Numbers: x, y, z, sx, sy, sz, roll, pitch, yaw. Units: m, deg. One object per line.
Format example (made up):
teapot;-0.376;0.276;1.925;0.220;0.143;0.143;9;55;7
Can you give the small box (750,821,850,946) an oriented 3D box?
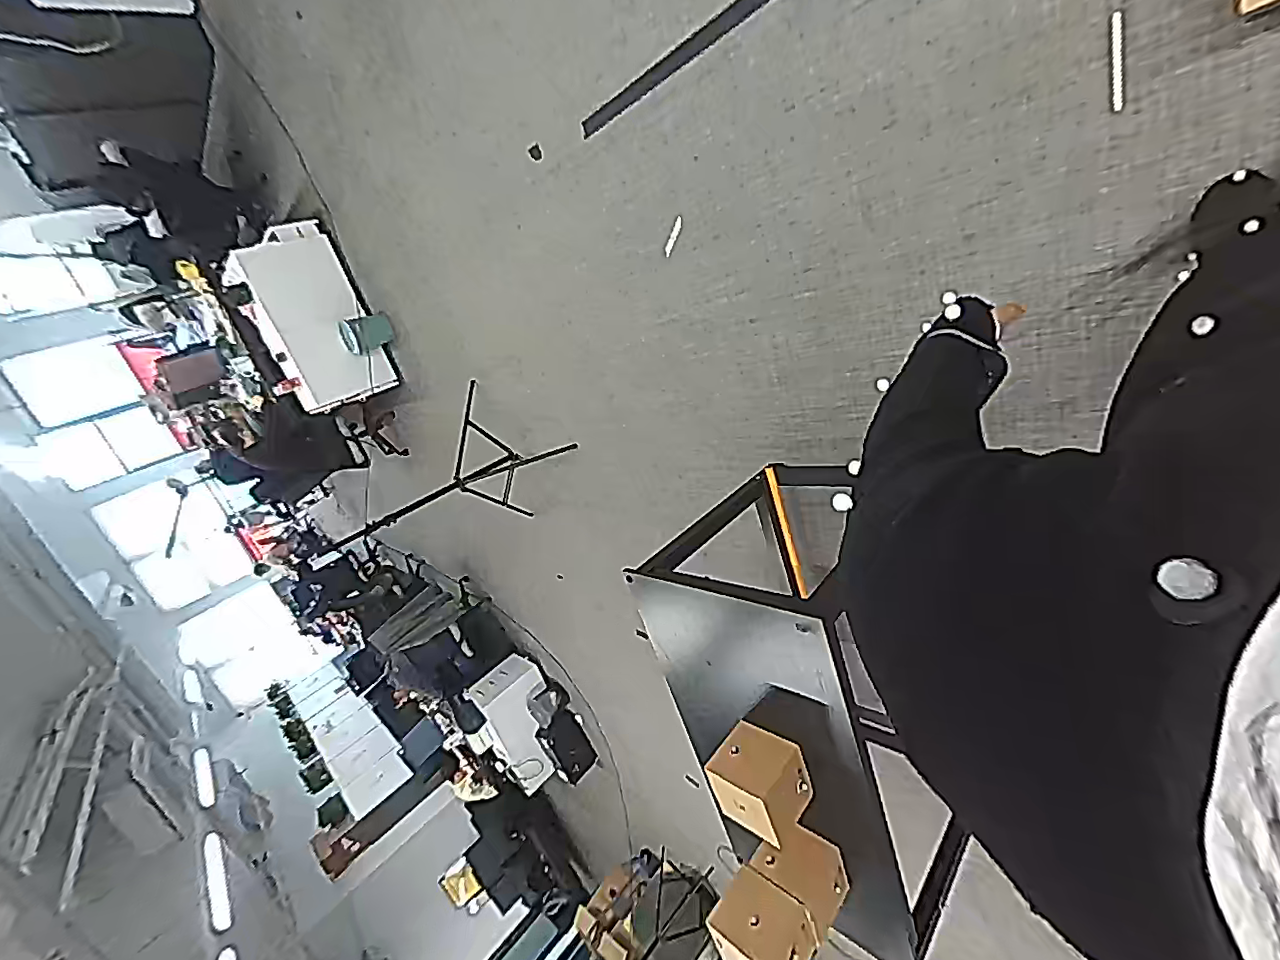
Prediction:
small box;0.420;1.036;1.413;0.179;0.176;0.168;5;120;48

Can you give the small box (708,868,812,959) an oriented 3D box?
small box;0.303;1.111;1.327;0.179;0.176;0.168;0;117;49

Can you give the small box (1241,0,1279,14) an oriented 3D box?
small box;0.917;-0.750;0.703;0.179;0.176;0.168;1;117;49

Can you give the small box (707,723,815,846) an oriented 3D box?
small box;0.299;0.733;1.327;0.179;0.176;0.168;0;118;49
